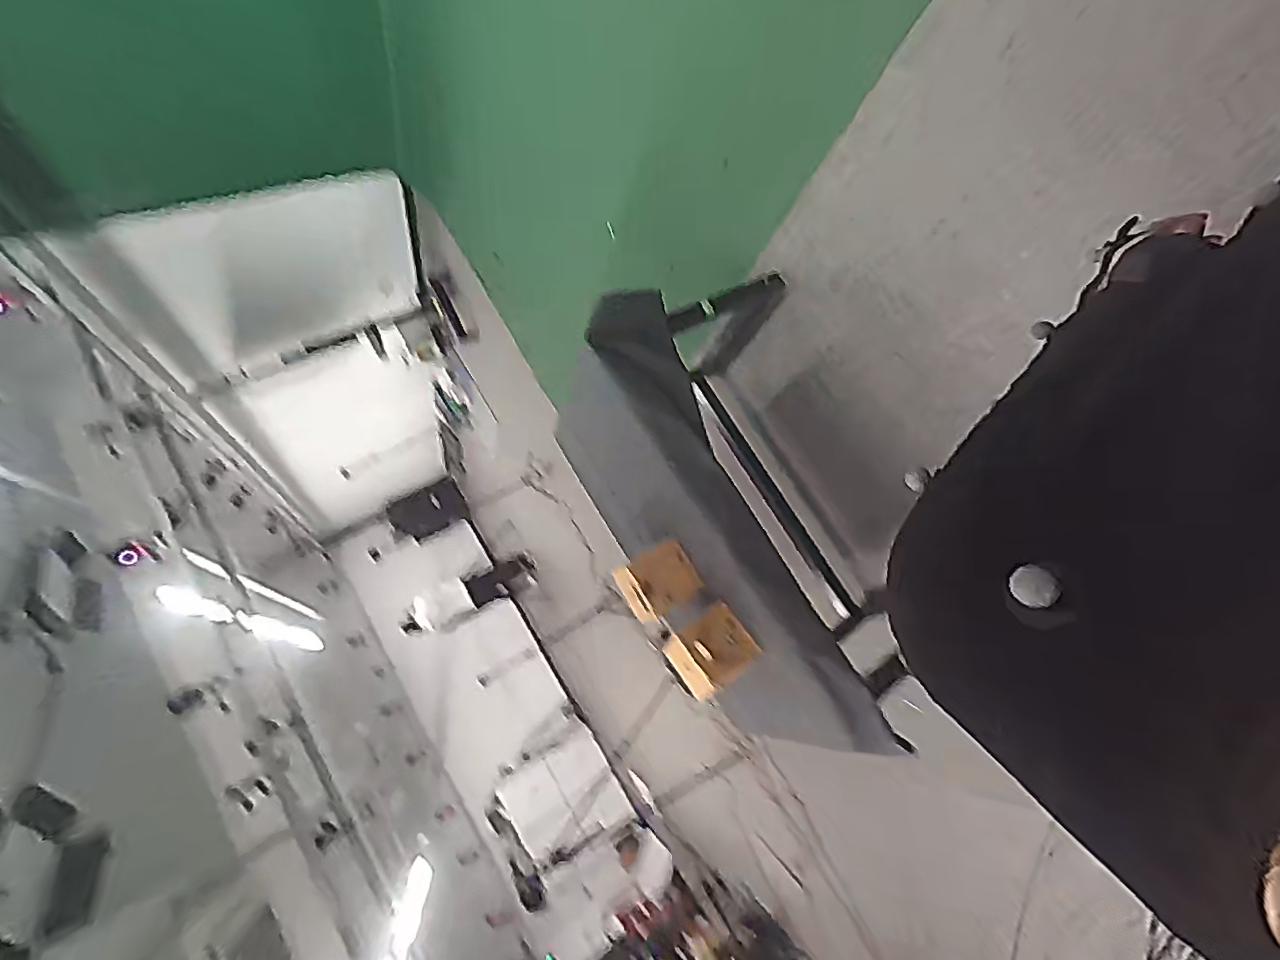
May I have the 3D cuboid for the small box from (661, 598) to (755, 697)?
[{"bbox_3d":[0.181,0.450,1.455,0.168,0.176,0.179,52,153,23],"label":"small box"}]
